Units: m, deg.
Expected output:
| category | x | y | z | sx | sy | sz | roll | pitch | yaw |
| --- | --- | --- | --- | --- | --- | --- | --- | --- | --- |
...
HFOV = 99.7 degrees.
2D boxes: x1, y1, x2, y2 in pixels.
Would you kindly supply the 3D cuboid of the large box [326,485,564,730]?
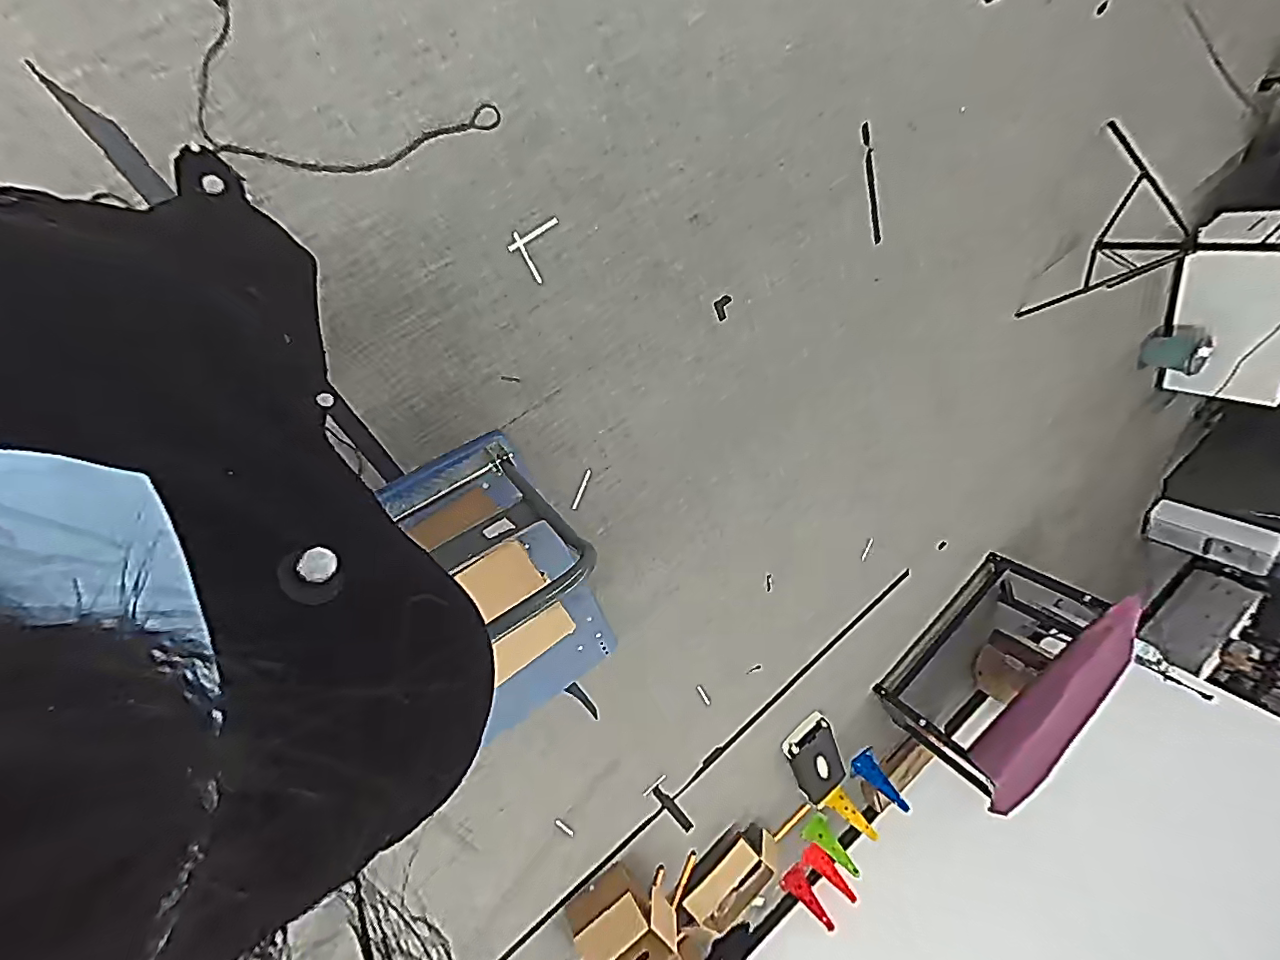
| category | x | y | z | sx | sy | sz | roll | pitch | yaw |
| --- | --- | --- | --- | --- | --- | --- | --- | --- | --- |
| large box | -0.462 | 0.281 | 1.284 | 0.408 | 0.320 | 0.320 | -35 | 123 | -14 |
